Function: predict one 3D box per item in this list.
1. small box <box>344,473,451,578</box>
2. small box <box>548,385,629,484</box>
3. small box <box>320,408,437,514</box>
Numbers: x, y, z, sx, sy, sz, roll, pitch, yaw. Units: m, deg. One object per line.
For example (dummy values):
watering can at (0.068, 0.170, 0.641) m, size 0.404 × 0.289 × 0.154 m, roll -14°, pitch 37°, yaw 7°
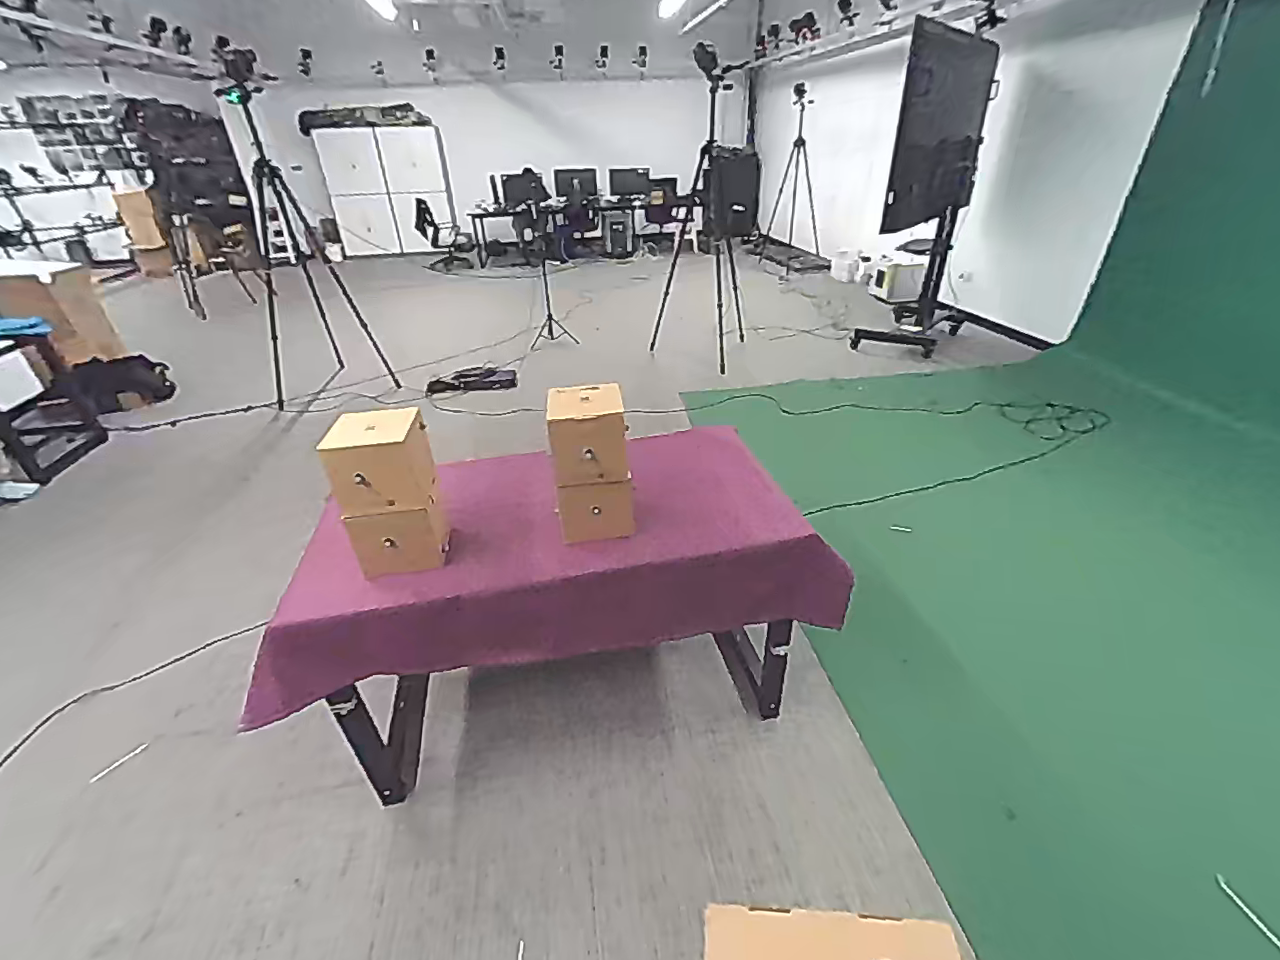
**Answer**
small box at (-0.546, 0.103, 1.248) m, size 0.179 × 0.176 × 0.168 m, roll -7°, pitch 32°, yaw -8°
small box at (-0.115, -0.101, 1.239) m, size 0.168 × 0.176 × 0.179 m, roll -5°, pitch 32°, yaw -4°
small box at (-0.549, -0.037, 1.166) m, size 0.168 × 0.176 × 0.179 m, roll -6°, pitch 31°, yaw -7°
